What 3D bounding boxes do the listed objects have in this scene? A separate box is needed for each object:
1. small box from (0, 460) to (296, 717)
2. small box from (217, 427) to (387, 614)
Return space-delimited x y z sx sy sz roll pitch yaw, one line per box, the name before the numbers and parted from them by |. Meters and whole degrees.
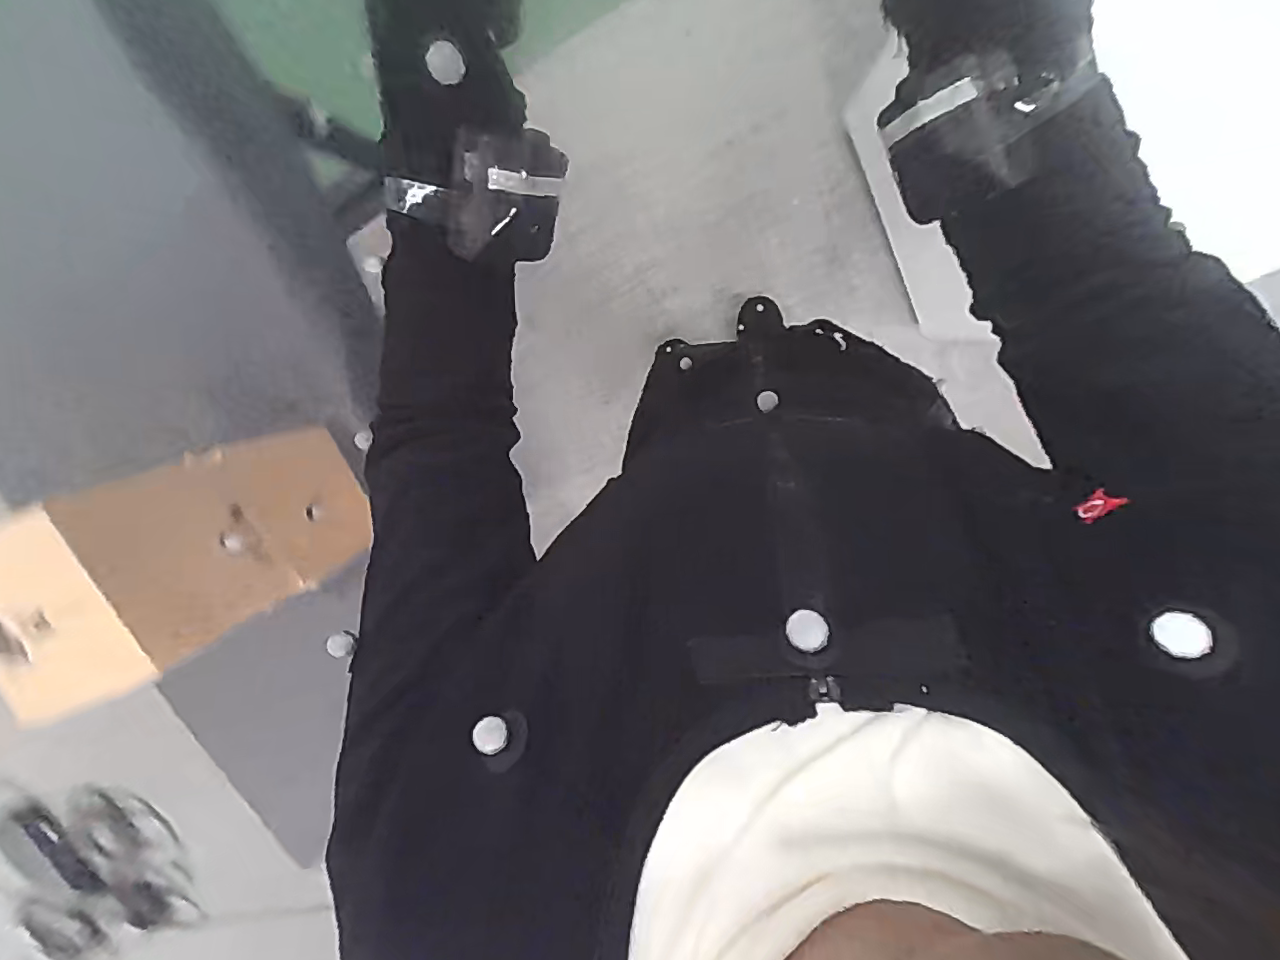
small box | -0.507 0.099 0.550 0.179 0.176 0.168 -25 101 17
small box | -0.473 0.051 0.704 0.168 0.176 0.179 -22 102 15
